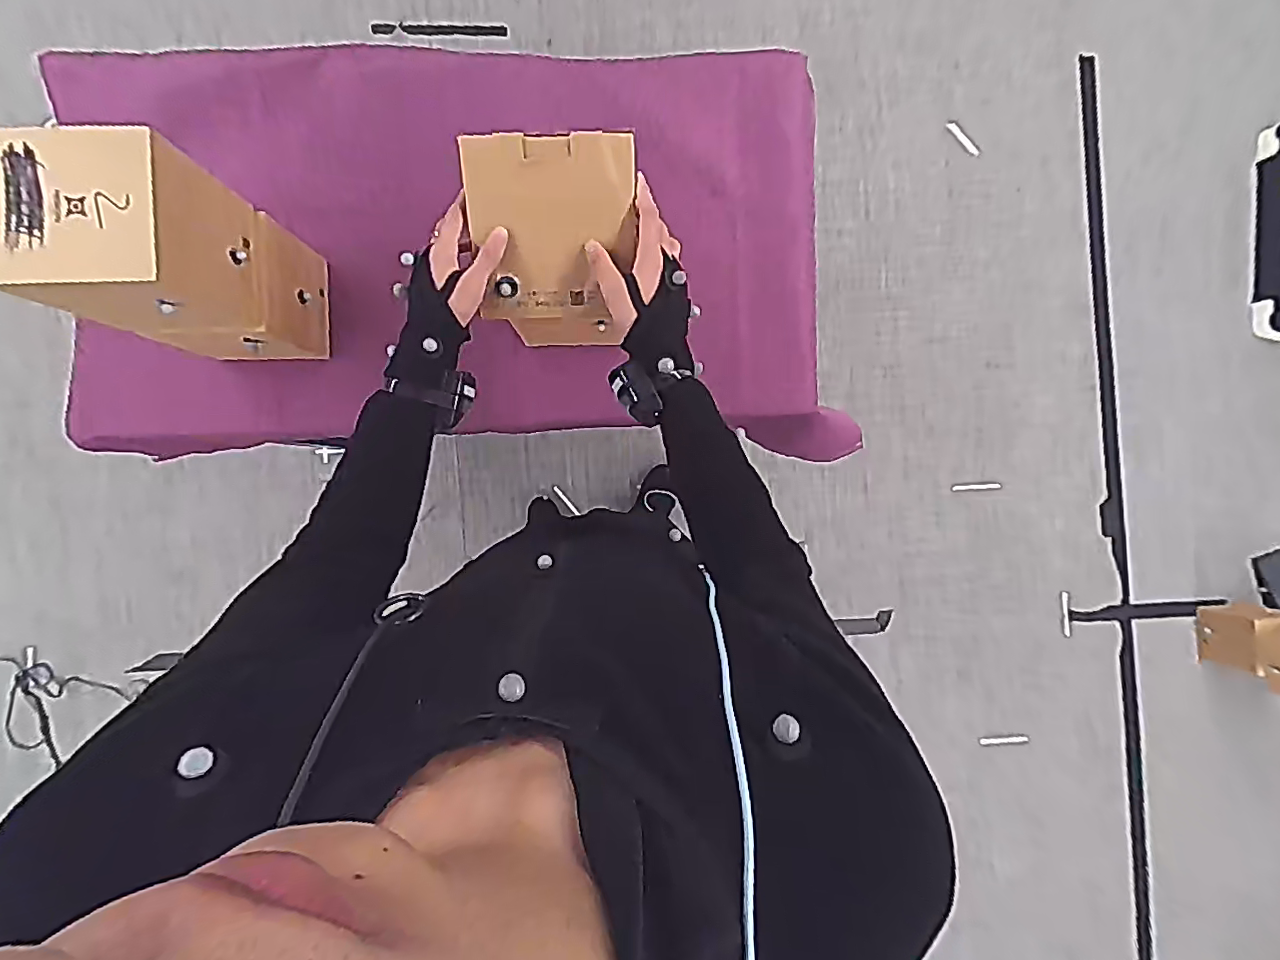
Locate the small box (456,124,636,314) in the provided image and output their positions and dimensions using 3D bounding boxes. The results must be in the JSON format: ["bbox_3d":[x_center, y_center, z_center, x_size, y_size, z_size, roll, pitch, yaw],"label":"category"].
[{"bbox_3d":[-0.088,-0.278,0.603,0.168,0.179,0.176,-1,112,-1],"label":"small box"}]

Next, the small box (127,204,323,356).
[{"bbox_3d":[-0.597,-0.285,0.802,0.179,0.176,0.168,-1,90,-3],"label":"small box"}]

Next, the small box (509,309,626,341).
[{"bbox_3d":[-0.110,-0.314,0.825,0.179,0.176,0.168,-2,90,-3],"label":"small box"}]
